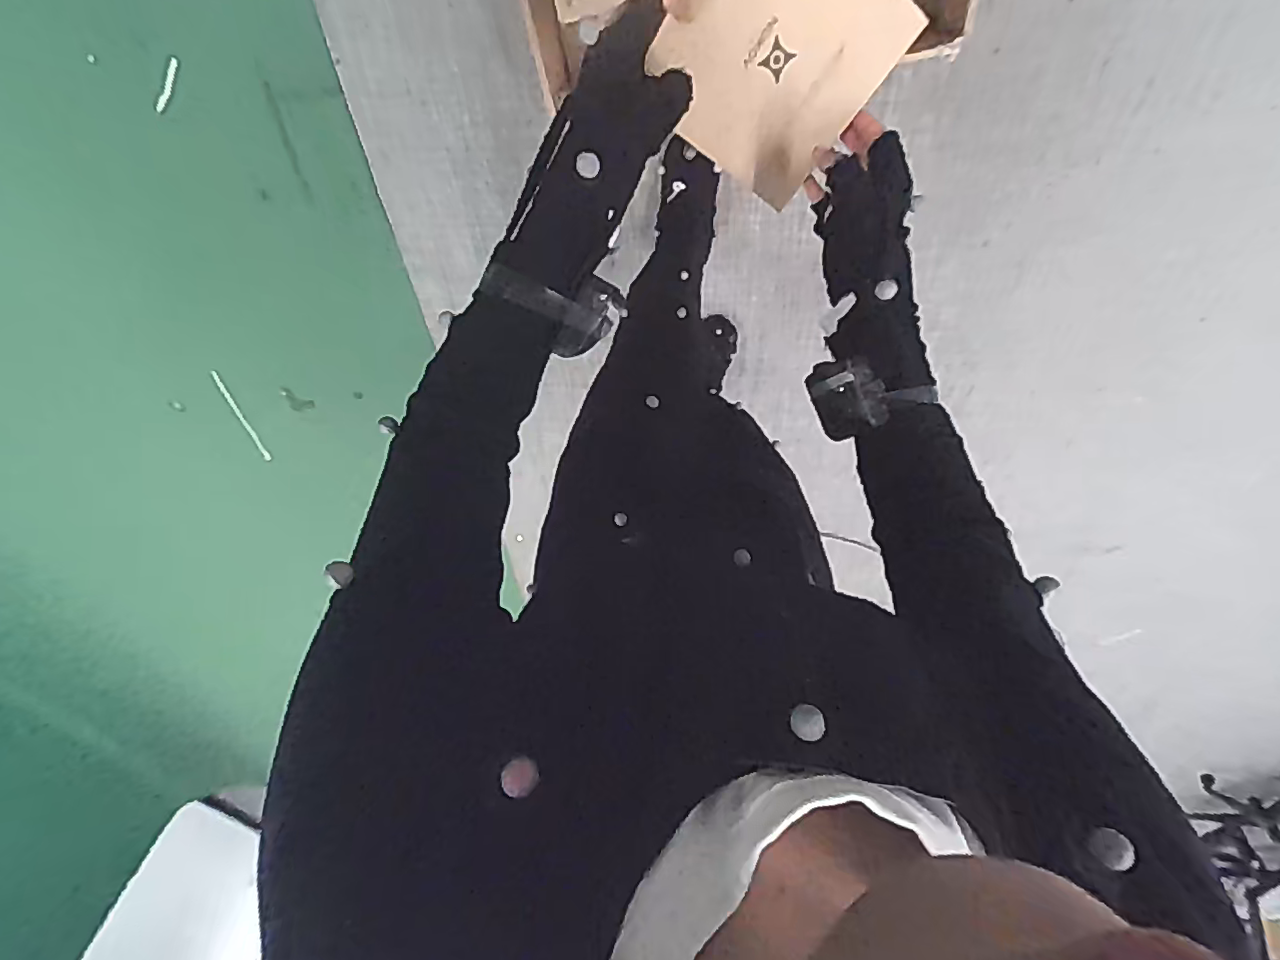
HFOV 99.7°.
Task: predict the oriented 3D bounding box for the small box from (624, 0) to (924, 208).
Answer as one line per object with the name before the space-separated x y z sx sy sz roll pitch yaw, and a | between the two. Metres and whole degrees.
small box | 0.099 -0.388 0.479 0.179 0.176 0.168 21 131 -27
